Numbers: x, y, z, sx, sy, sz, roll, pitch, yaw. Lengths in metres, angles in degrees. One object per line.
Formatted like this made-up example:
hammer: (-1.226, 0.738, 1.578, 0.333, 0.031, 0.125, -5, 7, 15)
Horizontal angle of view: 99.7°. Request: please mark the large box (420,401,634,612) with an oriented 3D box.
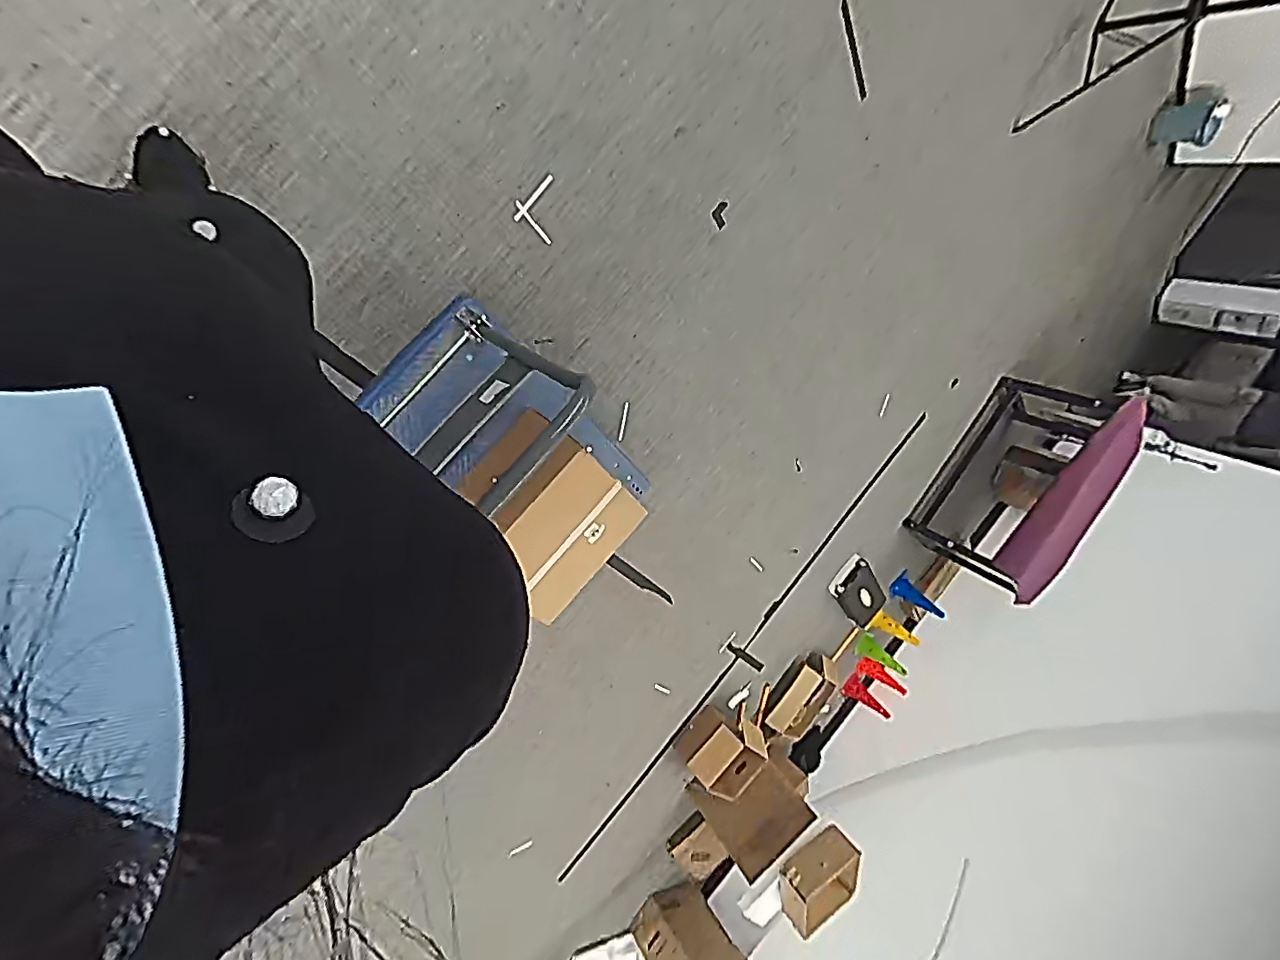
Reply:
large box: (-0.303, 0.065, 1.447, 0.408, 0.320, 0.320, -49, 135, -6)
